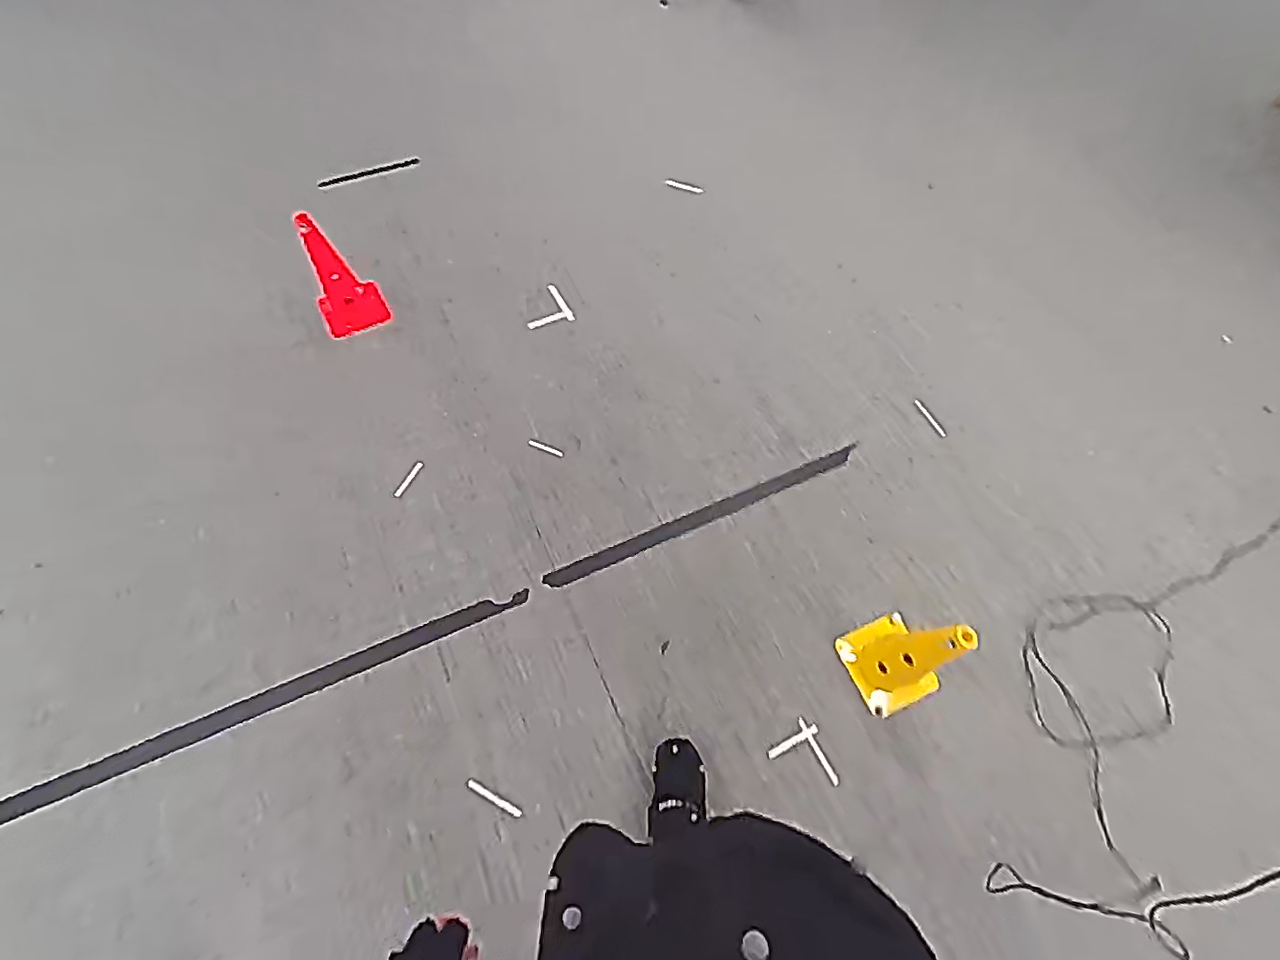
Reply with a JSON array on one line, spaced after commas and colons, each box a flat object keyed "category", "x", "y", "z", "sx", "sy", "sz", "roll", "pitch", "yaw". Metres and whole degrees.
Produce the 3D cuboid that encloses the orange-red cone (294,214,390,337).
[{"category": "orange-red cone", "x": -0.951, "y": -0.649, "z": 1.659, "sx": 0.199, "sy": 0.360, "sz": 0.198, "roll": -27, "pitch": 67, "yaw": -14}]
